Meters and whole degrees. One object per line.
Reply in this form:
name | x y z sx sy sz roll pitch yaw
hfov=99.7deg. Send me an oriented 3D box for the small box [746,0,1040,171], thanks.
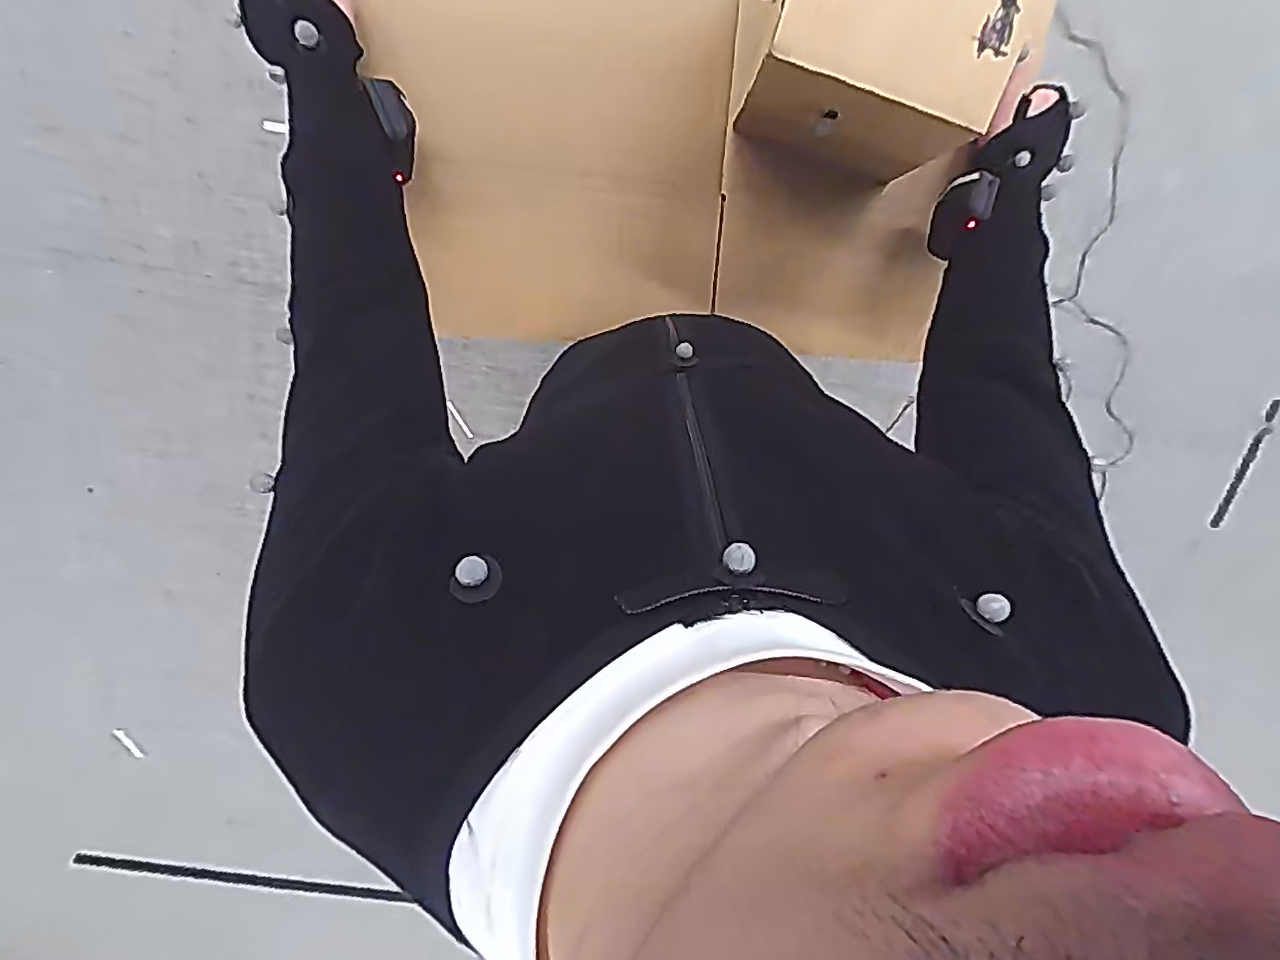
small box | 0.203 -0.387 0.454 0.179 0.176 0.168 17 107 -4
